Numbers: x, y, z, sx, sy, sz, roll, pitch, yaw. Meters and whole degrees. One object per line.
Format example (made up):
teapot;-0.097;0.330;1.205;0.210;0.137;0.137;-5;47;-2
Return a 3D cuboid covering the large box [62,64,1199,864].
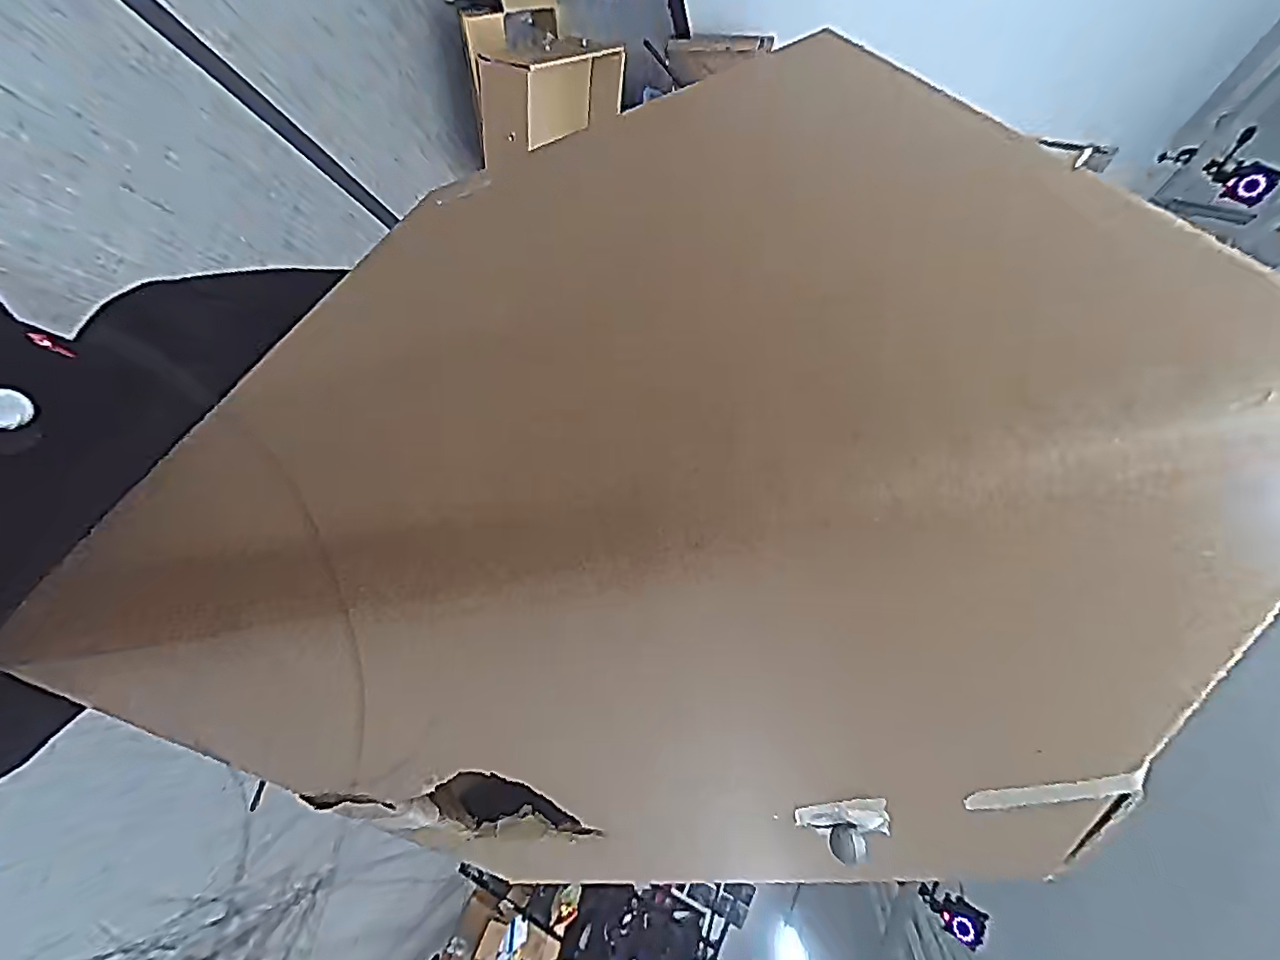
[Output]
large box;0.020;-0.017;0.363;0.408;0.320;0.320;-85;159;-45
